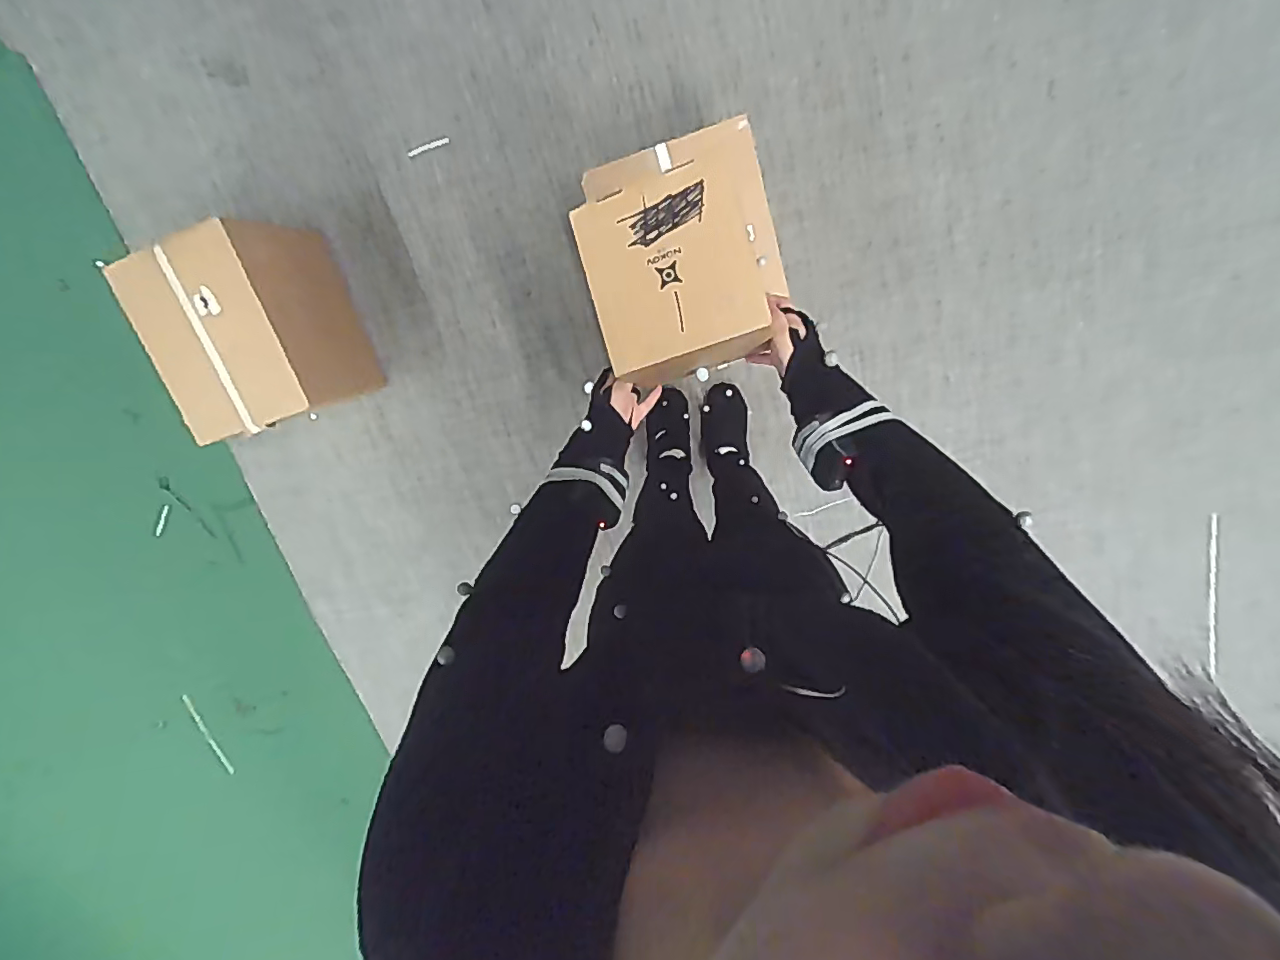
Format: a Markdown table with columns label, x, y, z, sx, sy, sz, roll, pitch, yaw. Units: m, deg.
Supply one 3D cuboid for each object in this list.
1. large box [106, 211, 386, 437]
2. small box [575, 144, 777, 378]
| label | x | y | z | sx | sy | sz | roll | pitch | yaw |
| --- | --- | --- | --- | --- | --- | --- | --- | --- | --- |
| large box | -0.895 | -0.361 | 1.289 | 0.320 | 0.320 | 0.408 | -15 | 106 | 11 |
| small box | 0.049 | -0.223 | 0.605 | 0.168 | 0.176 | 0.179 | -15 | 94 | 15 |
